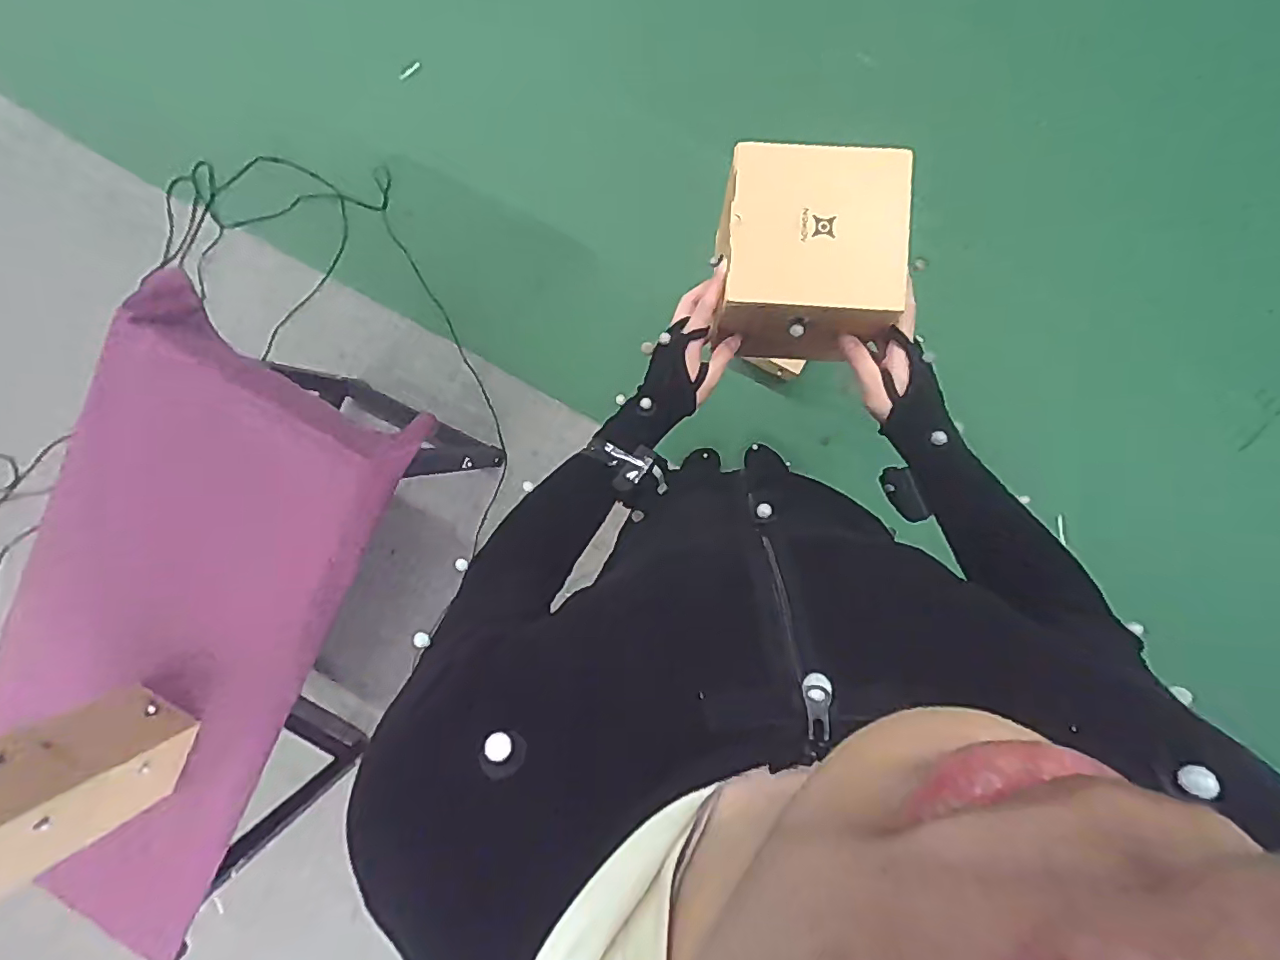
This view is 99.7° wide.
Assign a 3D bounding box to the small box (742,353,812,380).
[{"bbox_3d":[0.399,-0.389,1.501,0.179,0.176,0.168,29,96,6],"label":"small box"}]

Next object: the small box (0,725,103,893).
[{"bbox_3d":[-1.028,0.533,0.862,0.168,0.176,0.179,28,96,6],"label":"small box"}]

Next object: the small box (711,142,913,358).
[{"bbox_3d":[0.178,-0.243,0.606,0.179,0.176,0.168,4,85,4],"label":"small box"}]
